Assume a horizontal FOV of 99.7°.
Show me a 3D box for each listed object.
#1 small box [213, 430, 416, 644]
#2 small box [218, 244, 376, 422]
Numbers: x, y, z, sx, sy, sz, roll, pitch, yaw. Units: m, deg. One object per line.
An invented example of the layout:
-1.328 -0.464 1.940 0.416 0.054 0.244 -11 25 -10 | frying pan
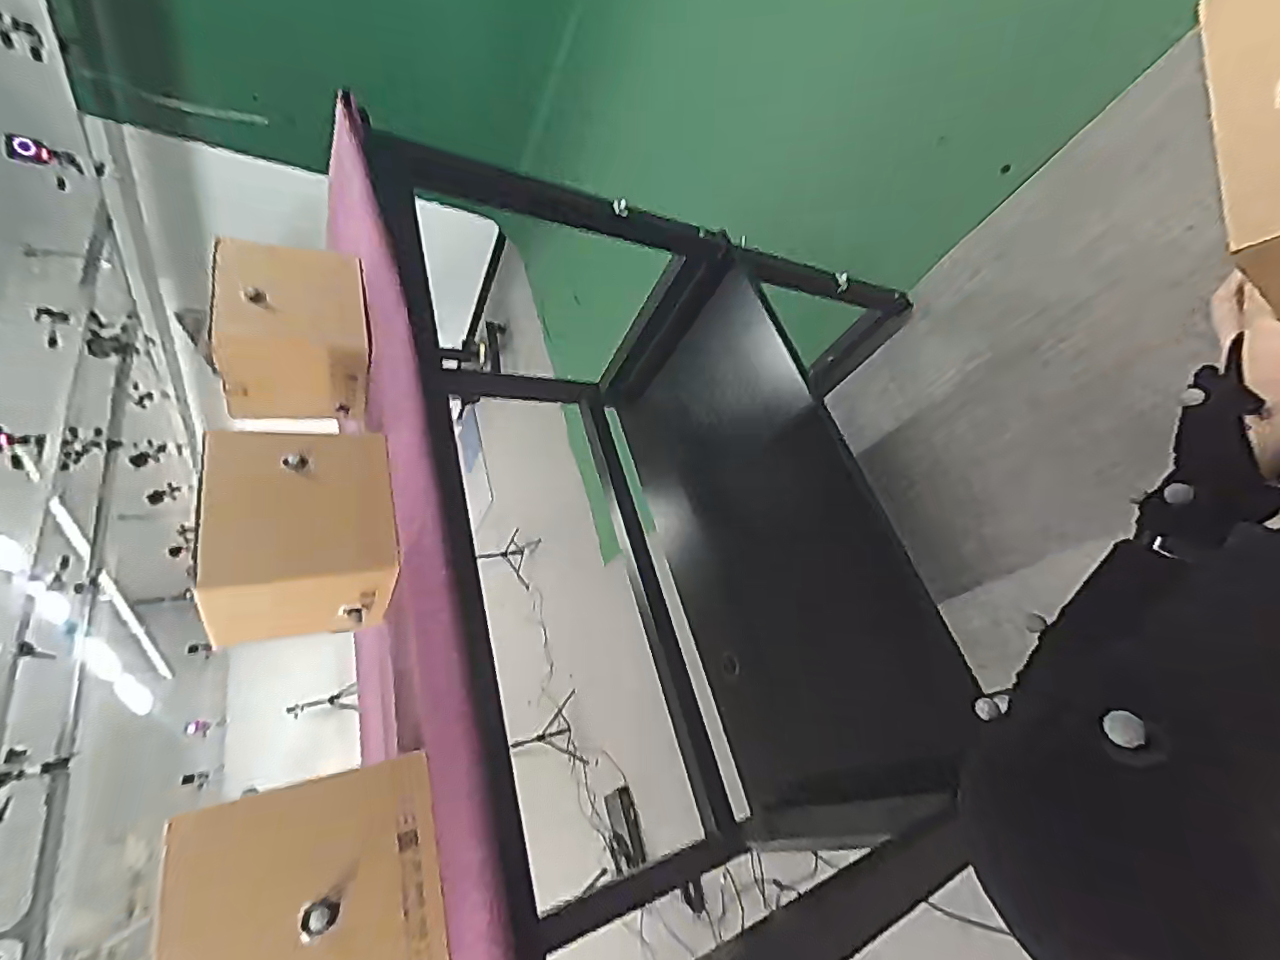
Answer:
-0.362 0.062 0.608 0.168 0.176 0.179 -52 51 46 | small box
-0.474 -0.199 0.763 0.168 0.176 0.179 -50 51 49 | small box
